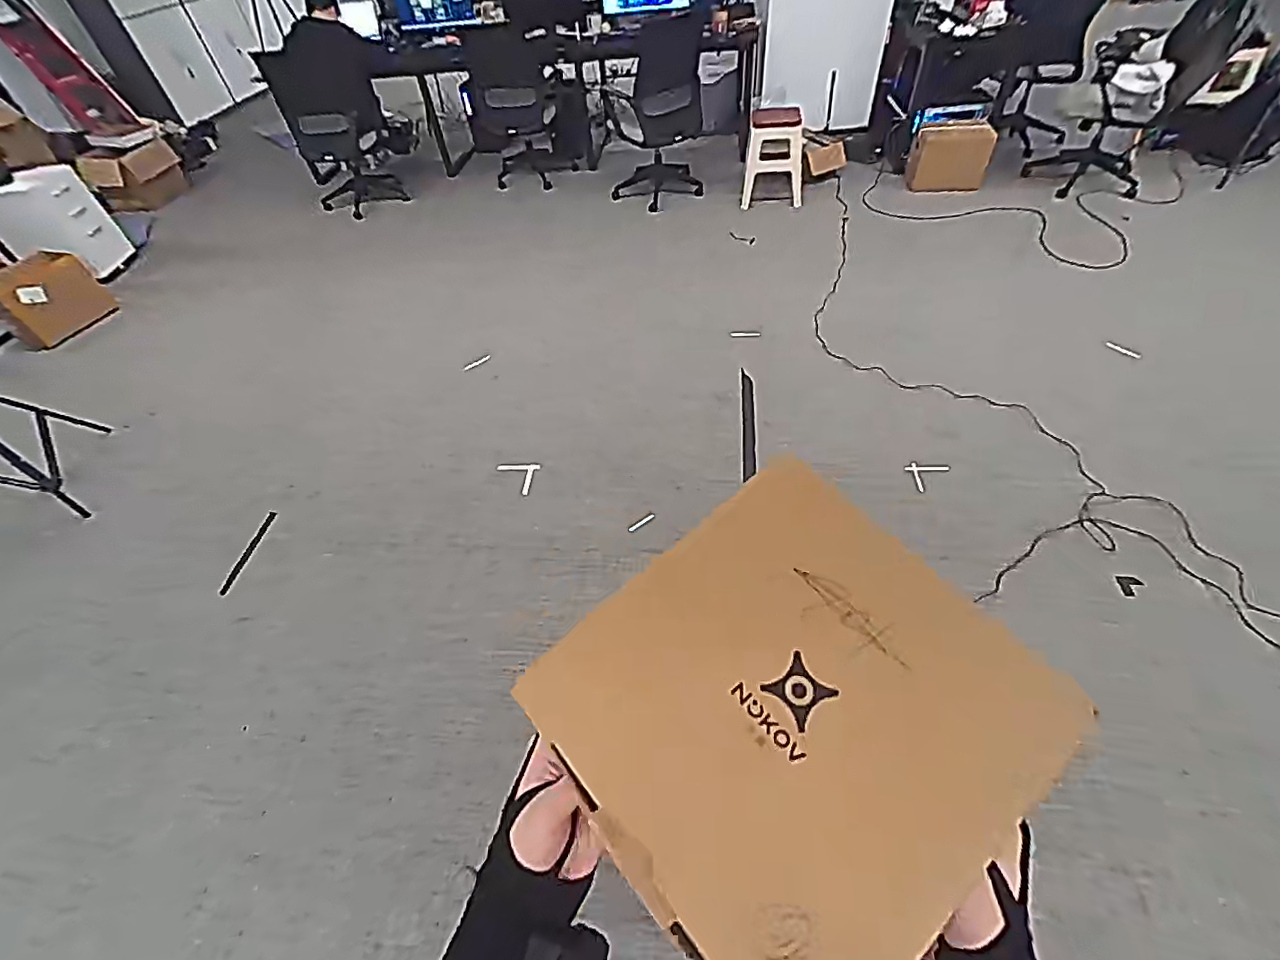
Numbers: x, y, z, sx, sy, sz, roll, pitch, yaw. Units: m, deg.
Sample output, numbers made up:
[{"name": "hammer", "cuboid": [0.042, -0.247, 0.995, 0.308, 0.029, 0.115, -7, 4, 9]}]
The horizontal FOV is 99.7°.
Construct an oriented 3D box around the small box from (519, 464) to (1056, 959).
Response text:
[{"name": "small box", "cuboid": [0.066, 0.132, 0.305, 0.179, 0.176, 0.168, -39, 66, -17]}]
